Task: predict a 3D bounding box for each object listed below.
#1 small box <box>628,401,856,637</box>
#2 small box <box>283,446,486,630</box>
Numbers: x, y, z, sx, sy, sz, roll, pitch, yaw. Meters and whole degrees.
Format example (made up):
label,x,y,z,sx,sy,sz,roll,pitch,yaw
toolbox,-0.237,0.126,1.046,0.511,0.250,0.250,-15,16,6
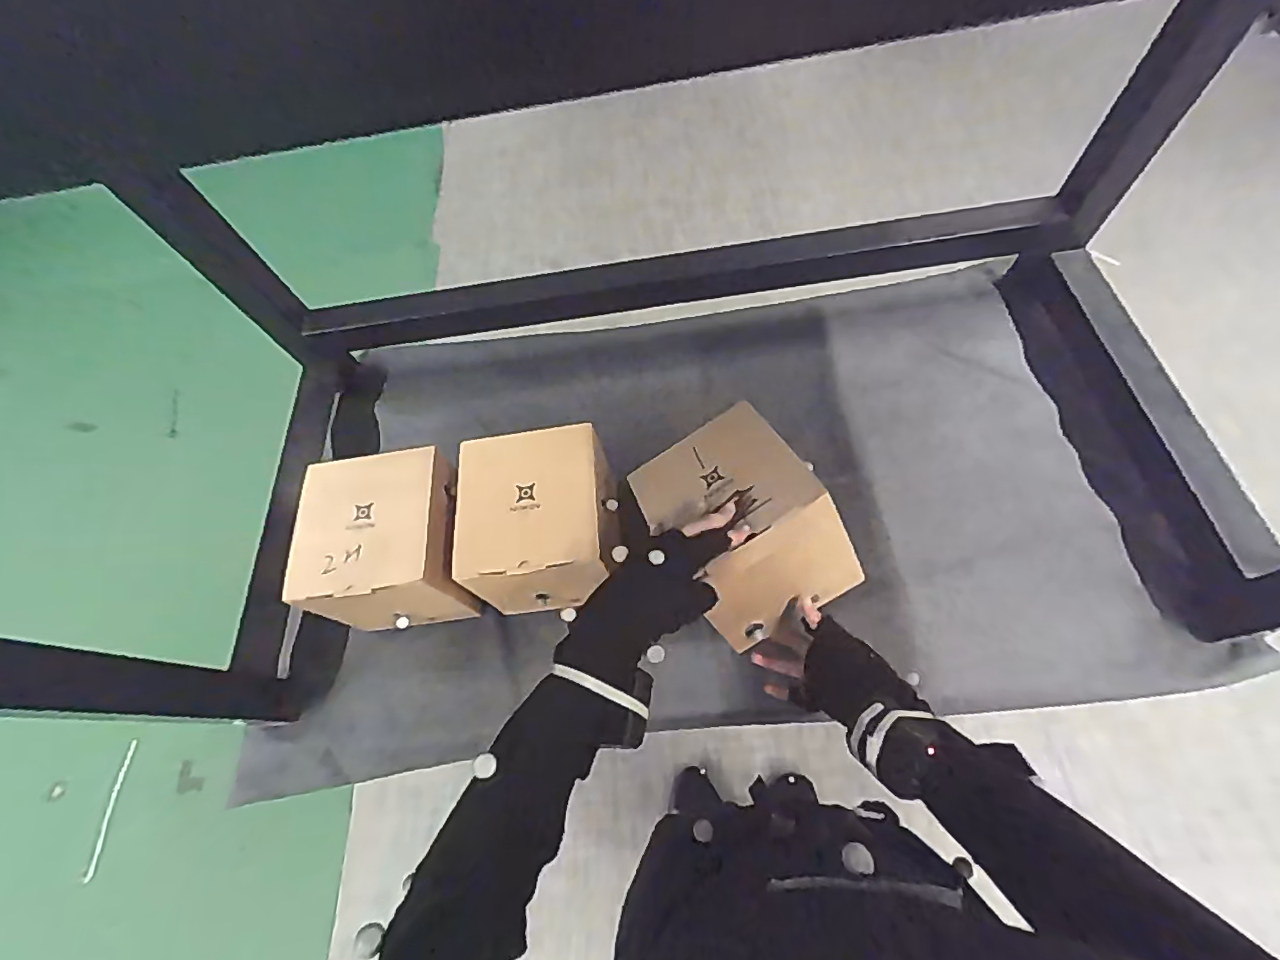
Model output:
label,x,y,z,sx,sy,sz,roll,pitch,yaw
small box,0.114,0.052,0.607,0.168,0.176,0.179,-32,40,6
small box,-0.309,0.081,0.697,0.168,0.176,0.179,-9,63,4
